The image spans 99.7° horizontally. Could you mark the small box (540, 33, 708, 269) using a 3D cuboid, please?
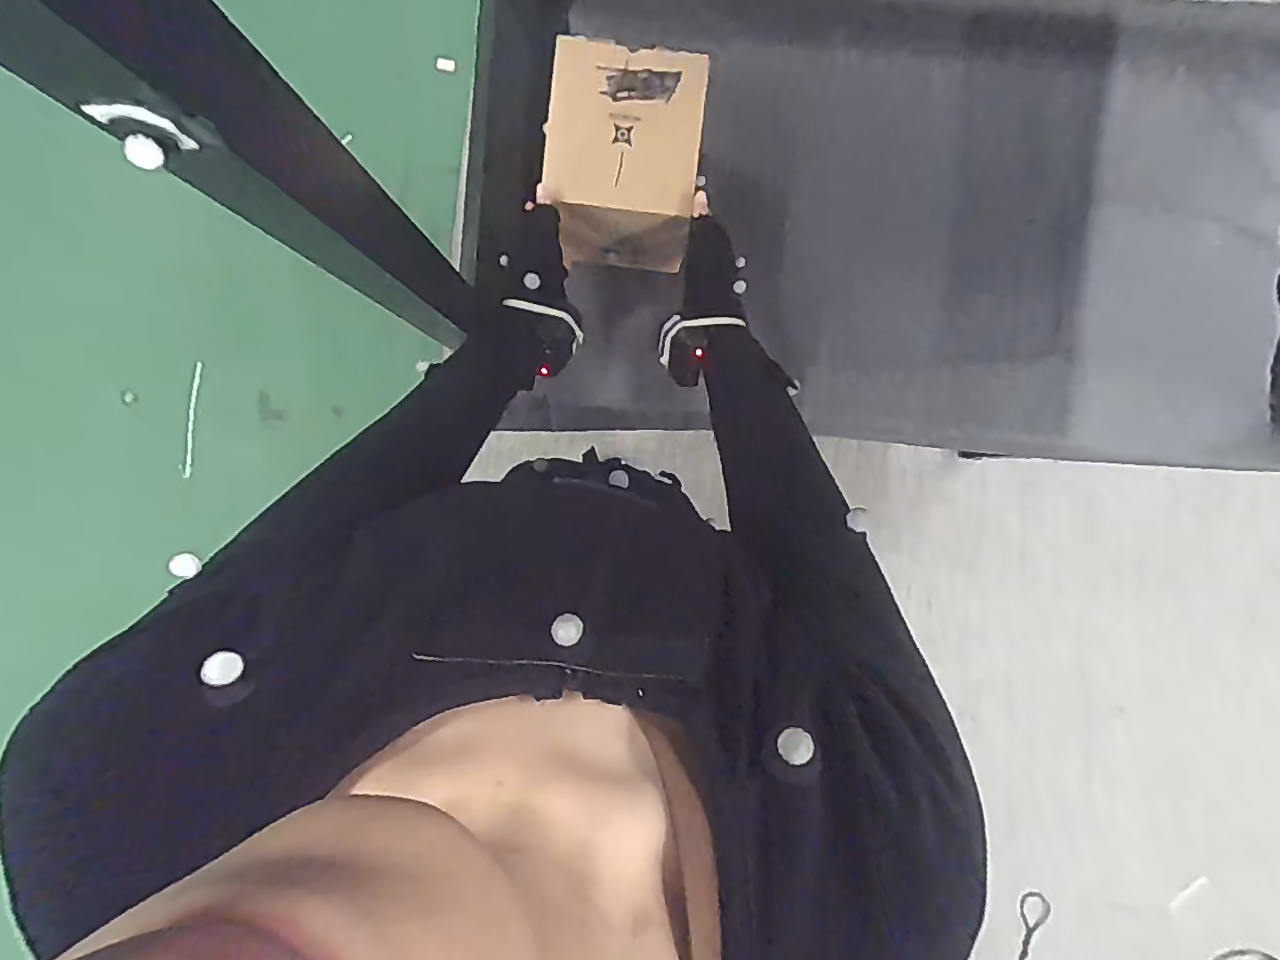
[{"bbox_3d":[-0.019,-0.382,0.657,0.168,0.176,0.179,6,92,-1],"label":"small box"}]
